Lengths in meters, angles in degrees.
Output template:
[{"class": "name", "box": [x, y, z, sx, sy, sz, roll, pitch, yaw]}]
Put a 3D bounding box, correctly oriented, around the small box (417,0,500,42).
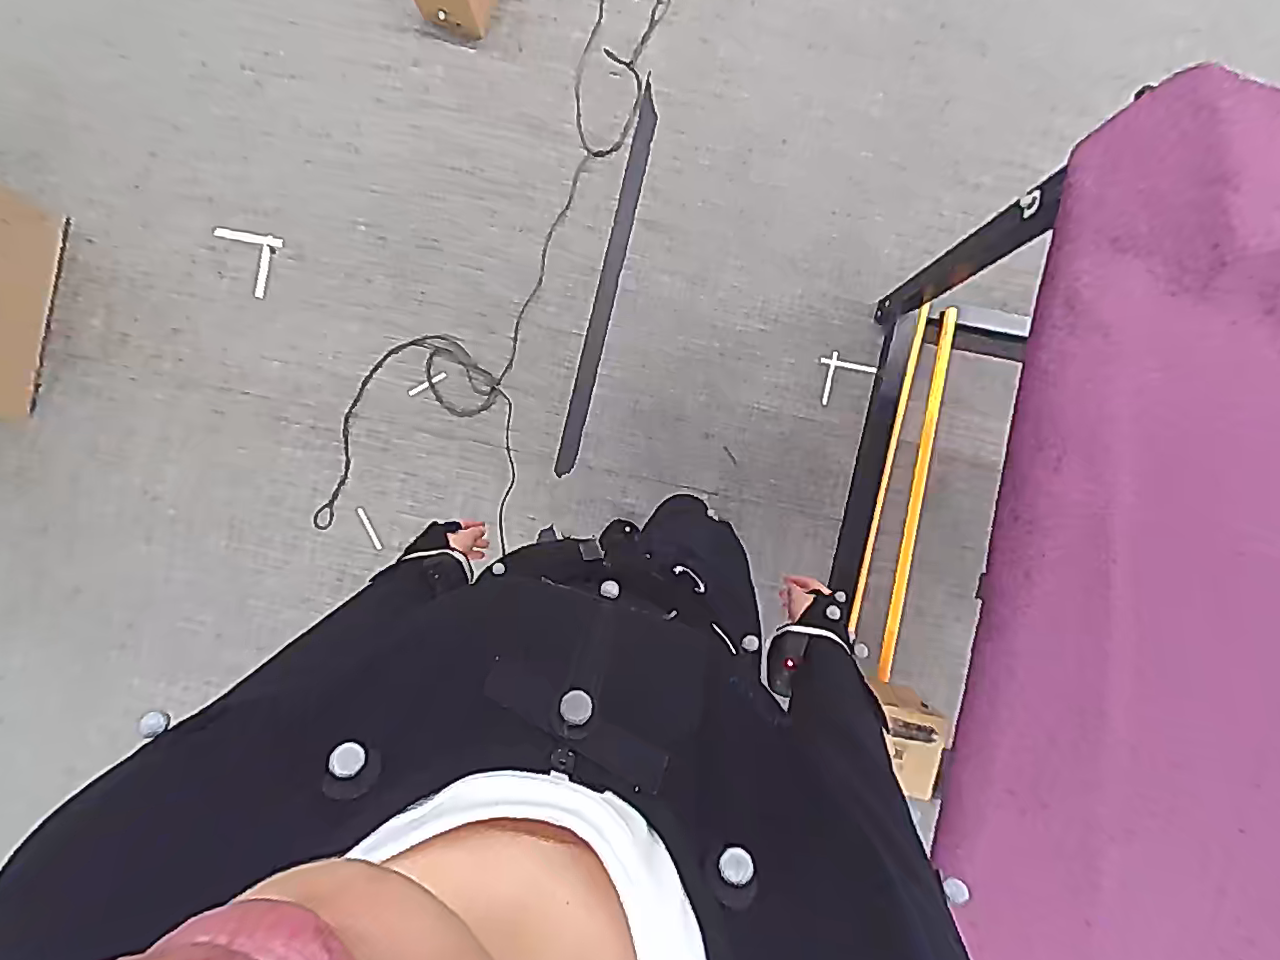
[{"class": "small box", "box": [-0.437, -1.203, 1.276, 0.168, 0.176, 0.179, 20, 91, 0]}]
